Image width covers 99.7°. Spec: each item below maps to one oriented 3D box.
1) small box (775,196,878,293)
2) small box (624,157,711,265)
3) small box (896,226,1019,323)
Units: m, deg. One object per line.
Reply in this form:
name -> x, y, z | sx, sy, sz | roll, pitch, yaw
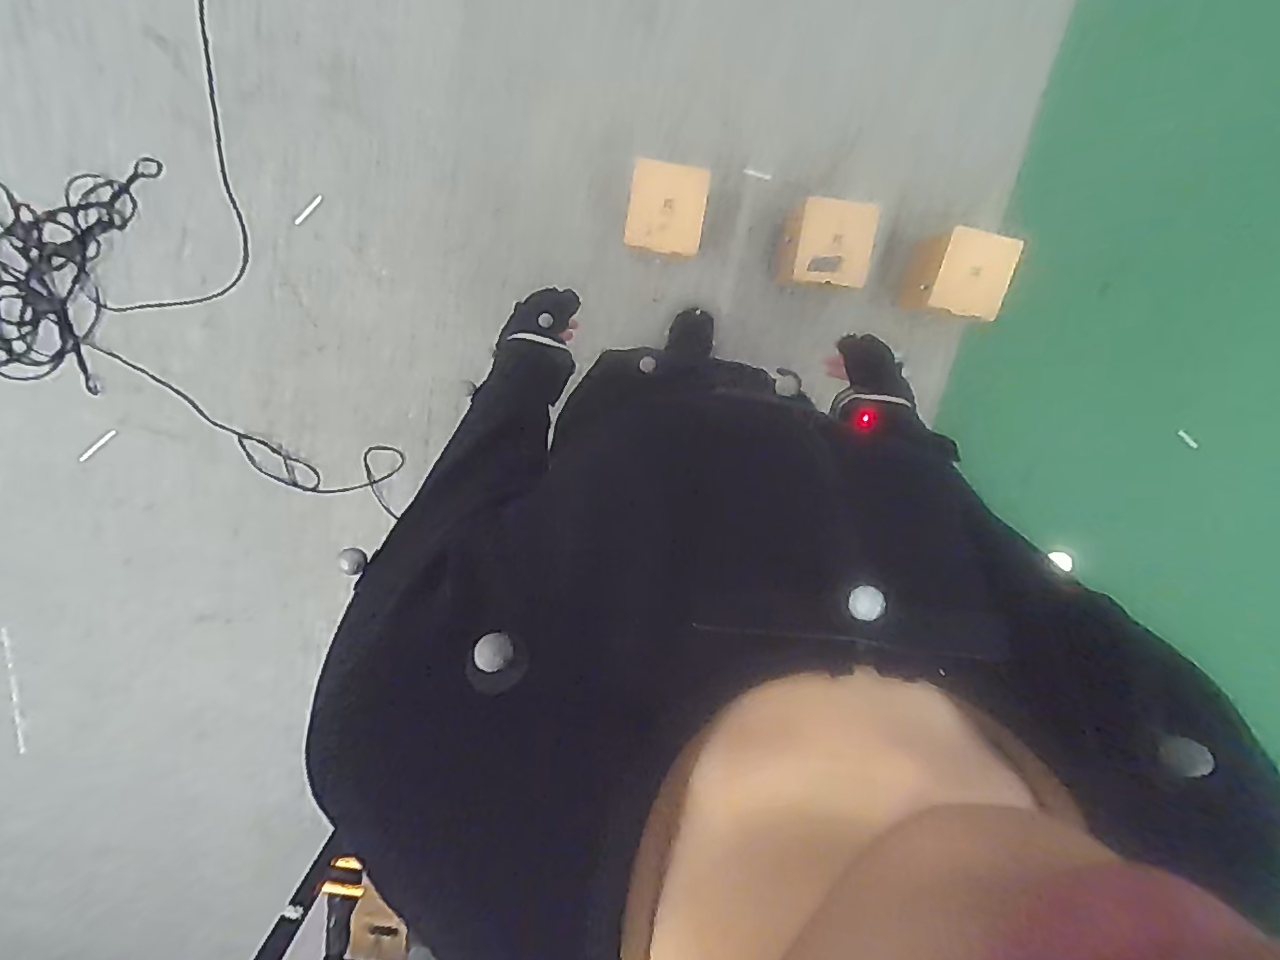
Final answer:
small box -> 0.426, -0.542, 1.268 | 0.168, 0.176, 0.179 | 7, 104, -3
small box -> 0.058, -0.610, 1.244 | 0.168, 0.176, 0.179 | 9, 106, -2
small box -> 0.744, -0.482, 1.289 | 0.168, 0.176, 0.179 | 12, 105, -3
